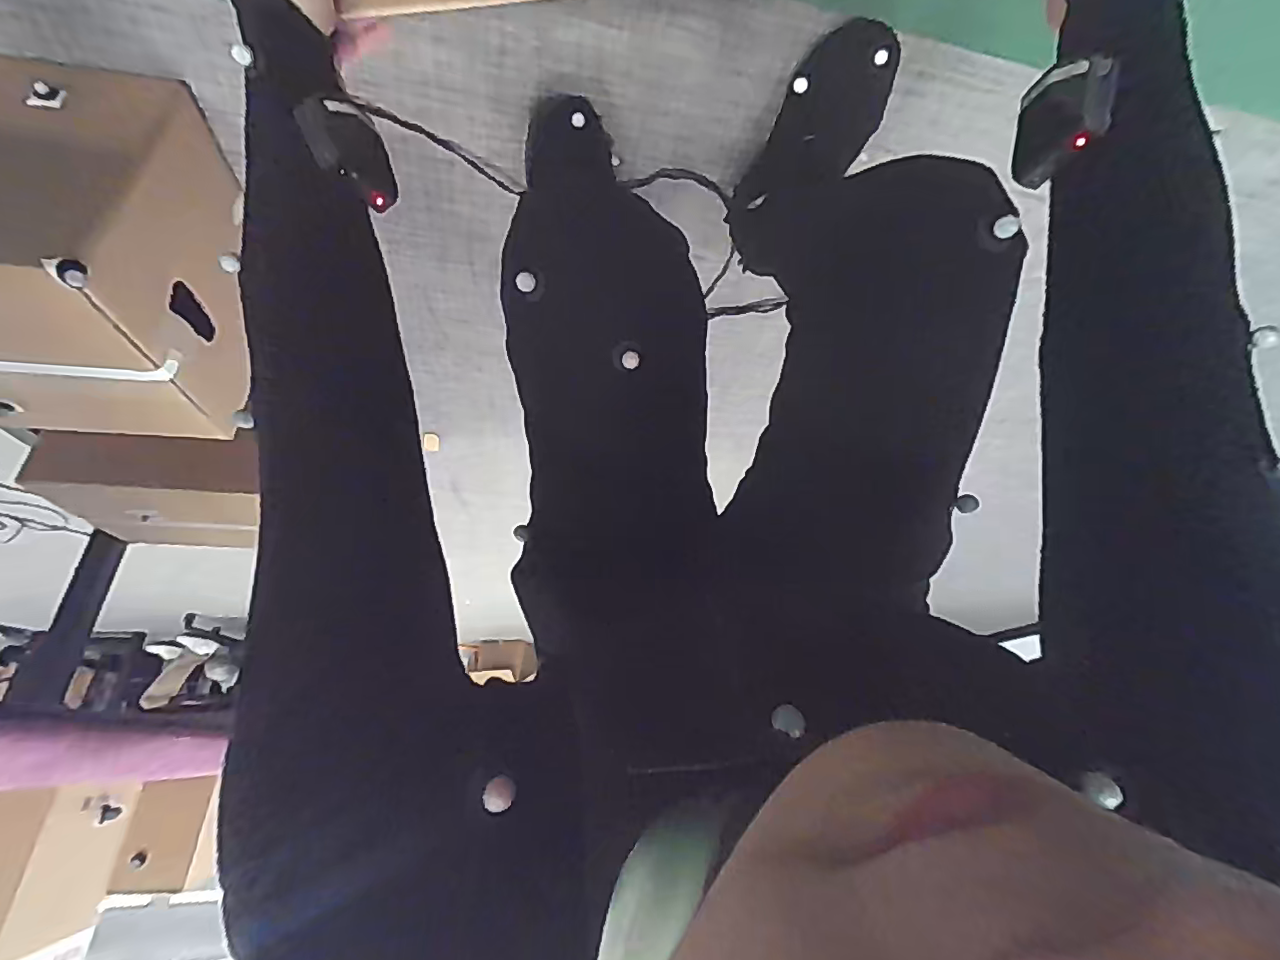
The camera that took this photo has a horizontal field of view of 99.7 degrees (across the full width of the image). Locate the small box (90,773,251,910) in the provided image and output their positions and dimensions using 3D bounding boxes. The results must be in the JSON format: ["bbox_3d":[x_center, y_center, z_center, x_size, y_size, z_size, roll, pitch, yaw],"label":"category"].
[{"bbox_3d":[-0.795,0.597,0.912,0.179,0.176,0.168,5,152,-9],"label":"small box"}]

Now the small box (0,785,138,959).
[{"bbox_3d":[-0.726,0.434,0.595,0.179,0.176,0.168,5,153,-11],"label":"small box"}]

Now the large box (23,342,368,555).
[{"bbox_3d":[-0.835,-0.049,1.103,0.408,0.320,0.320,5,152,-10],"label":"large box"}]
